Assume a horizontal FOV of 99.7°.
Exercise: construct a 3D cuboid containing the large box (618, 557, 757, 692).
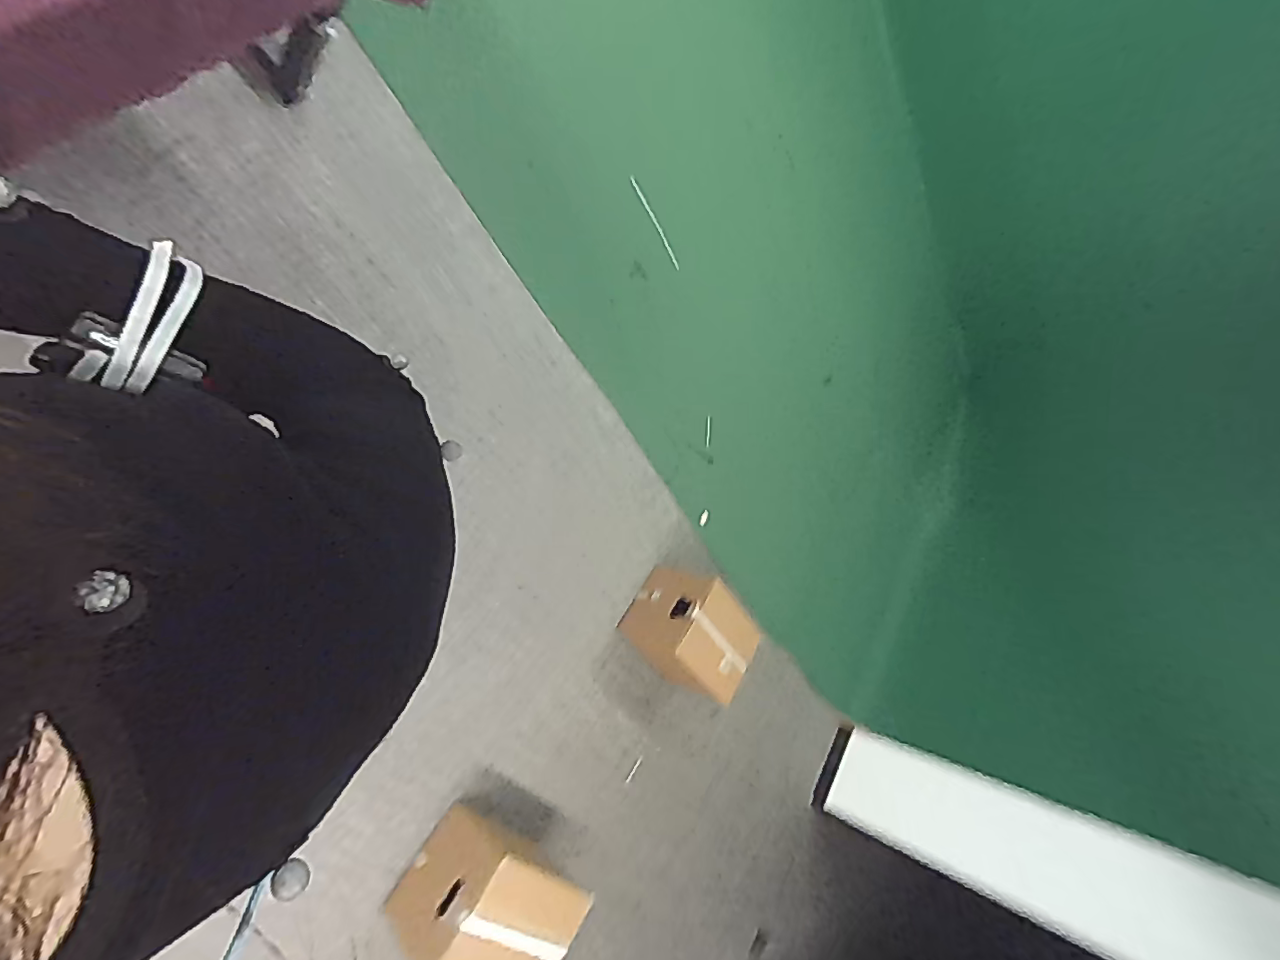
[{"bbox_3d":[0.188,0.548,2.095,0.320,0.320,0.408,-55,126,-26],"label":"large box"}]
